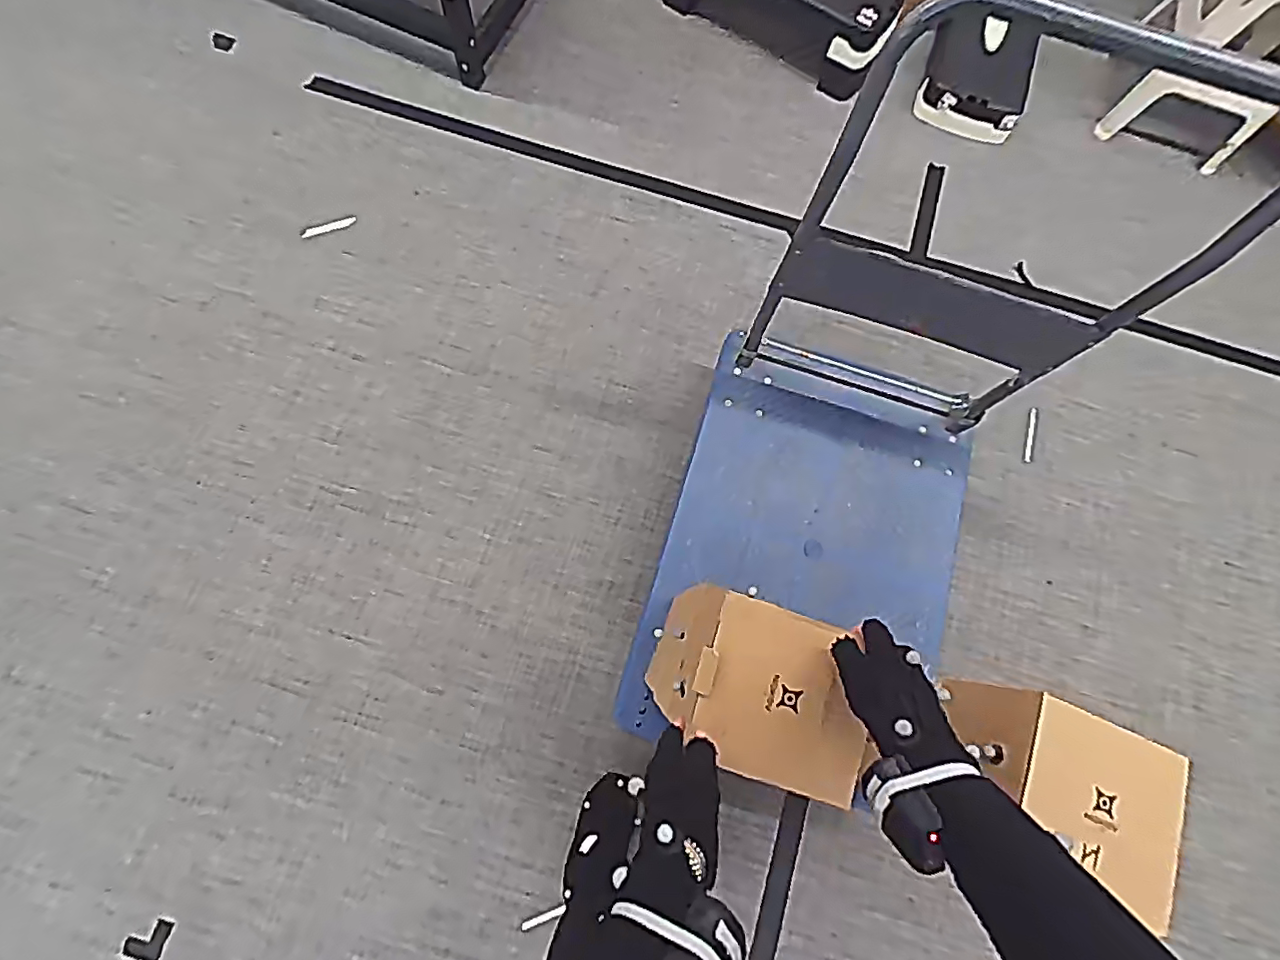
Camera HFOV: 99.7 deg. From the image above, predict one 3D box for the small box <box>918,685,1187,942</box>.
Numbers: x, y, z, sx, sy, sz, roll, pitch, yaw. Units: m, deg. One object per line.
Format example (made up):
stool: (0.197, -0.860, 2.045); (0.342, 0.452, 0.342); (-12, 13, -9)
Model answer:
small box: (0.452, 0.354, 0.617); (0.168, 0.176, 0.179); (24, 75, 2)

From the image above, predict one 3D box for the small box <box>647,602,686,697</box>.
small box: (0.124, 0.316, 0.942); (0.179, 0.176, 0.168); (22, 75, 2)

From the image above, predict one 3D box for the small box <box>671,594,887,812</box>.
small box: (0.143, 0.235, 0.619); (0.179, 0.176, 0.168); (19, 81, 1)

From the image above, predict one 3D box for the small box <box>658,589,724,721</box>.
small box: (0.131, 0.272, 0.783); (0.168, 0.176, 0.179); (19, 74, 1)

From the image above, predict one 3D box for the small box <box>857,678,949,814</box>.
small box: (0.438, 0.397, 0.776); (0.179, 0.176, 0.168); (23, 75, 1)
